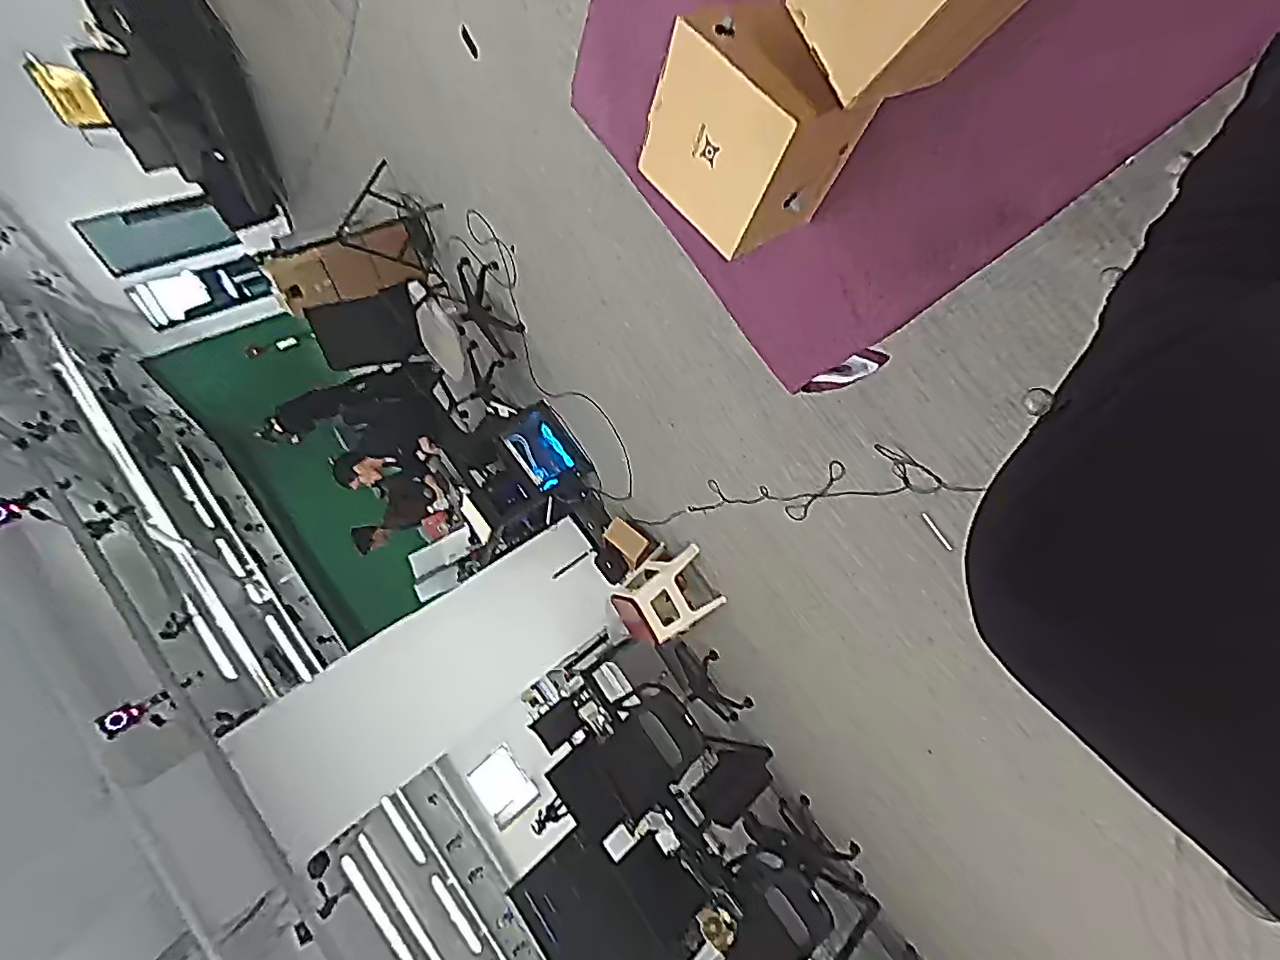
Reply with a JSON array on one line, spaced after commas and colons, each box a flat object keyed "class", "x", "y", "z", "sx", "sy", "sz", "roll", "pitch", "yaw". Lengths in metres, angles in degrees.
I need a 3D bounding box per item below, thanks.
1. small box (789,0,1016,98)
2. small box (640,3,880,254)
[{"class": "small box", "x": 0.227, "y": -0.446, "z": 0.412, "sx": 0.168, "sy": 0.176, "sz": 0.179, "roll": 59, "pitch": 153, "yaw": -3}, {"class": "small box", "x": 0.132, "y": -0.403, "z": 0.619, "sx": 0.179, "sy": 0.176, "sz": 0.168, "roll": 50, "pitch": 153, "yaw": 12}]
